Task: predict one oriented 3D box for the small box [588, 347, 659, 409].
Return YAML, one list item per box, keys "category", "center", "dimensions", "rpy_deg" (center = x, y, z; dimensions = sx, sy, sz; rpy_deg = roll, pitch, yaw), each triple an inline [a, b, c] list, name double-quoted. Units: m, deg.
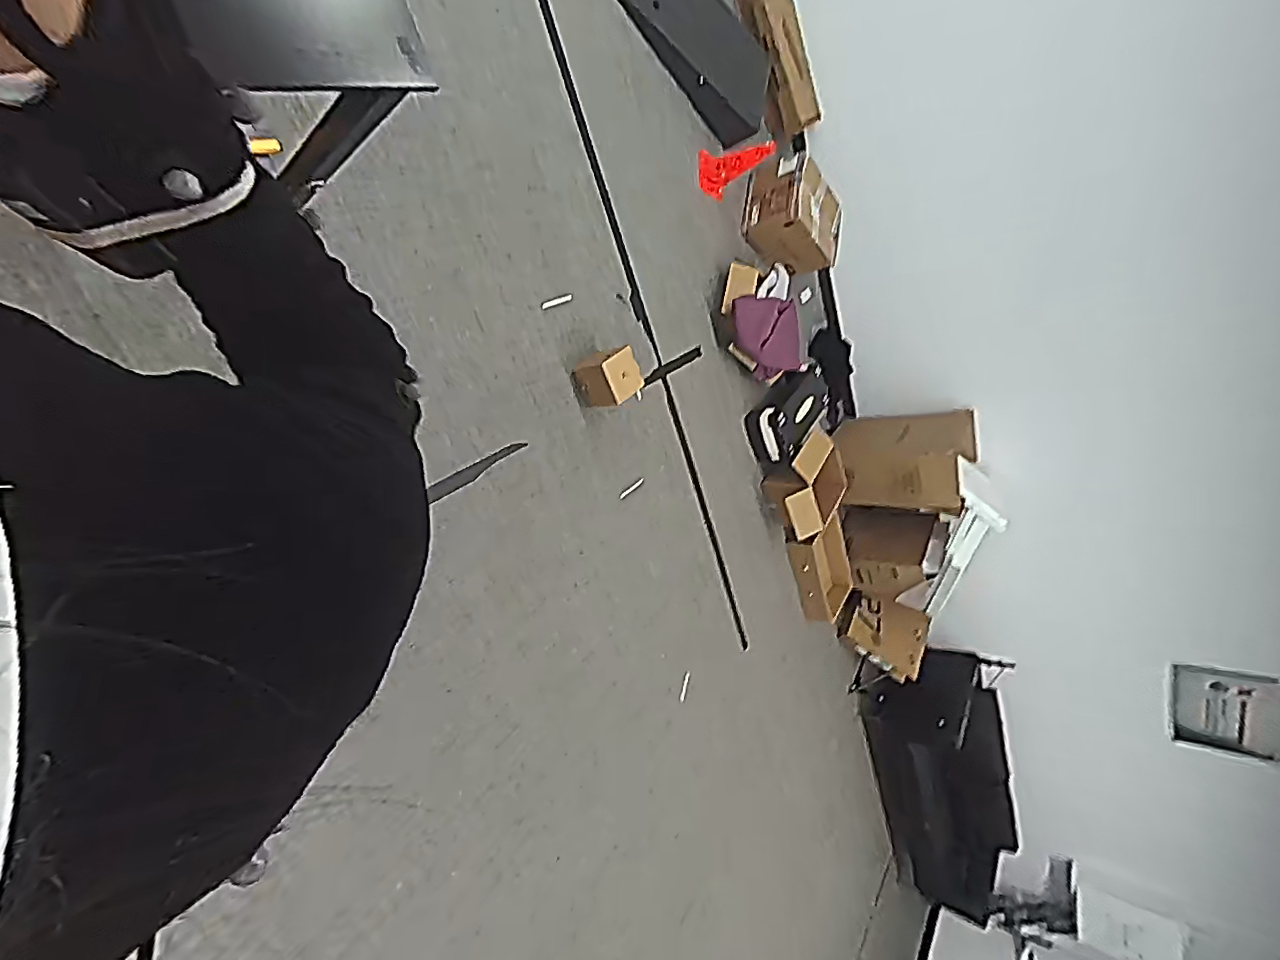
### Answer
- category: "small box"
  center: [-0.065, -0.381, 2.031]
  dimensions: [0.179, 0.176, 0.168]
  rpy_deg: [-45, 121, -37]
